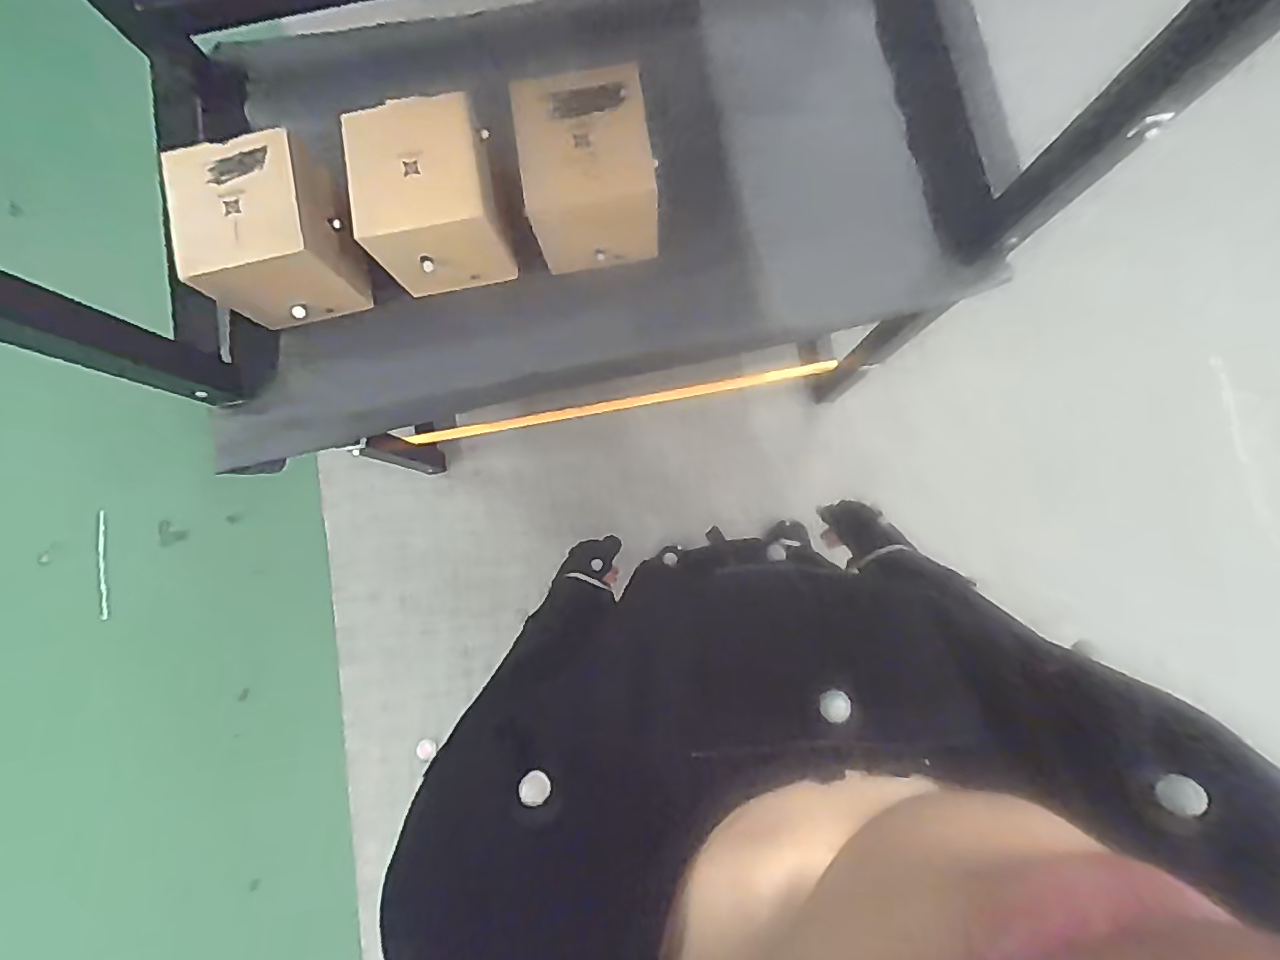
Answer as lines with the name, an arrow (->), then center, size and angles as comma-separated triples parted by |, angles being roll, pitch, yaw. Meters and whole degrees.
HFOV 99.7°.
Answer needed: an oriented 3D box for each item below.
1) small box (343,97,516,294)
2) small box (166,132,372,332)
small box -> -0.282, -0.378, 0.754 | 0.168, 0.176, 0.179 | -10, 82, 1
small box -> -0.504, -0.333, 0.755 | 0.168, 0.176, 0.179 | -12, 83, 1
